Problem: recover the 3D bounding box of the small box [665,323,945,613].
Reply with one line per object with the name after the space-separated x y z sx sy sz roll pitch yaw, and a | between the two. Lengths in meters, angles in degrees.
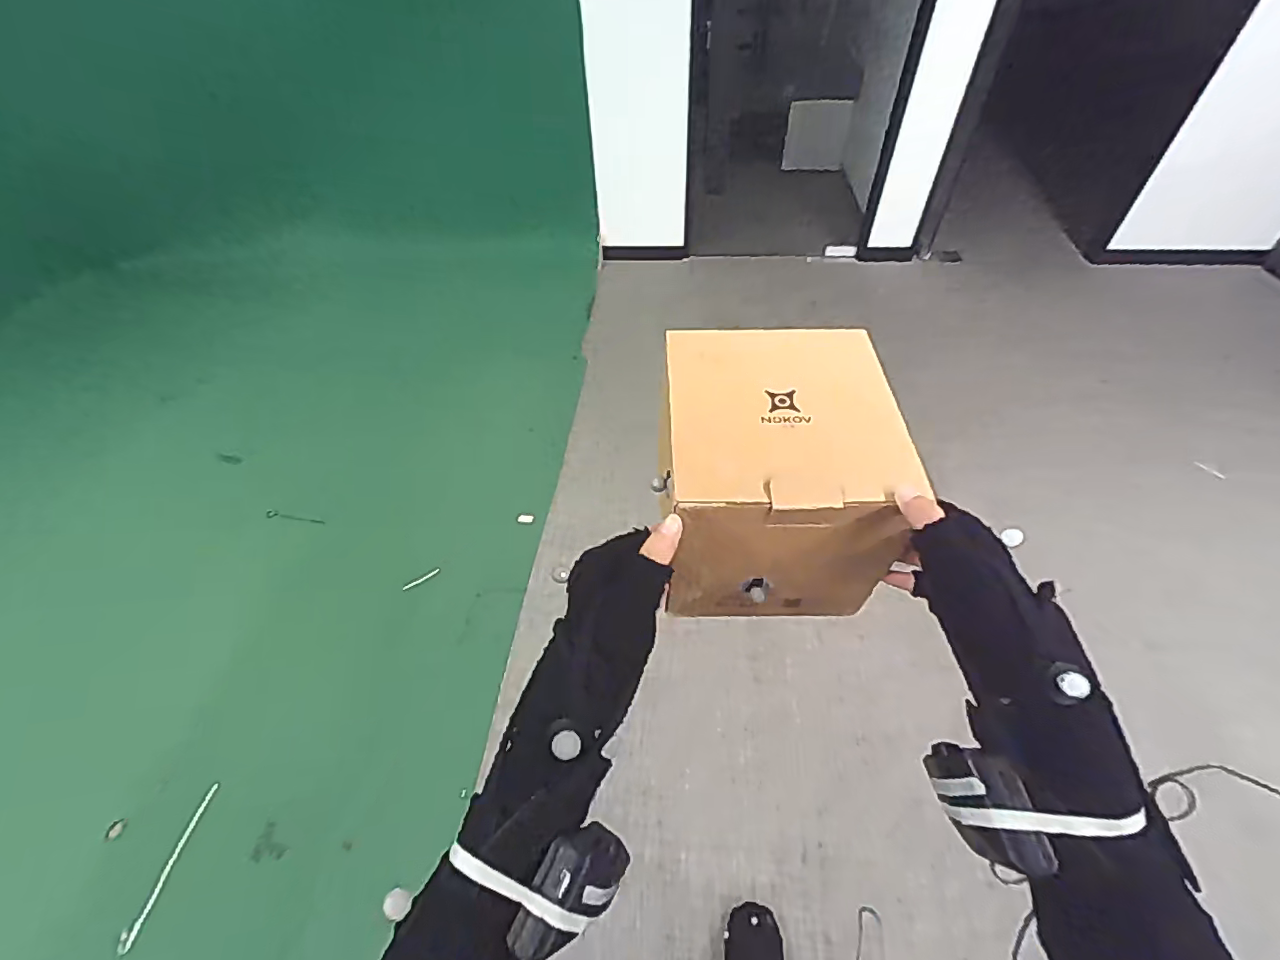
0.108 -0.007 0.448 0.168 0.176 0.179 0 54 0 | small box
